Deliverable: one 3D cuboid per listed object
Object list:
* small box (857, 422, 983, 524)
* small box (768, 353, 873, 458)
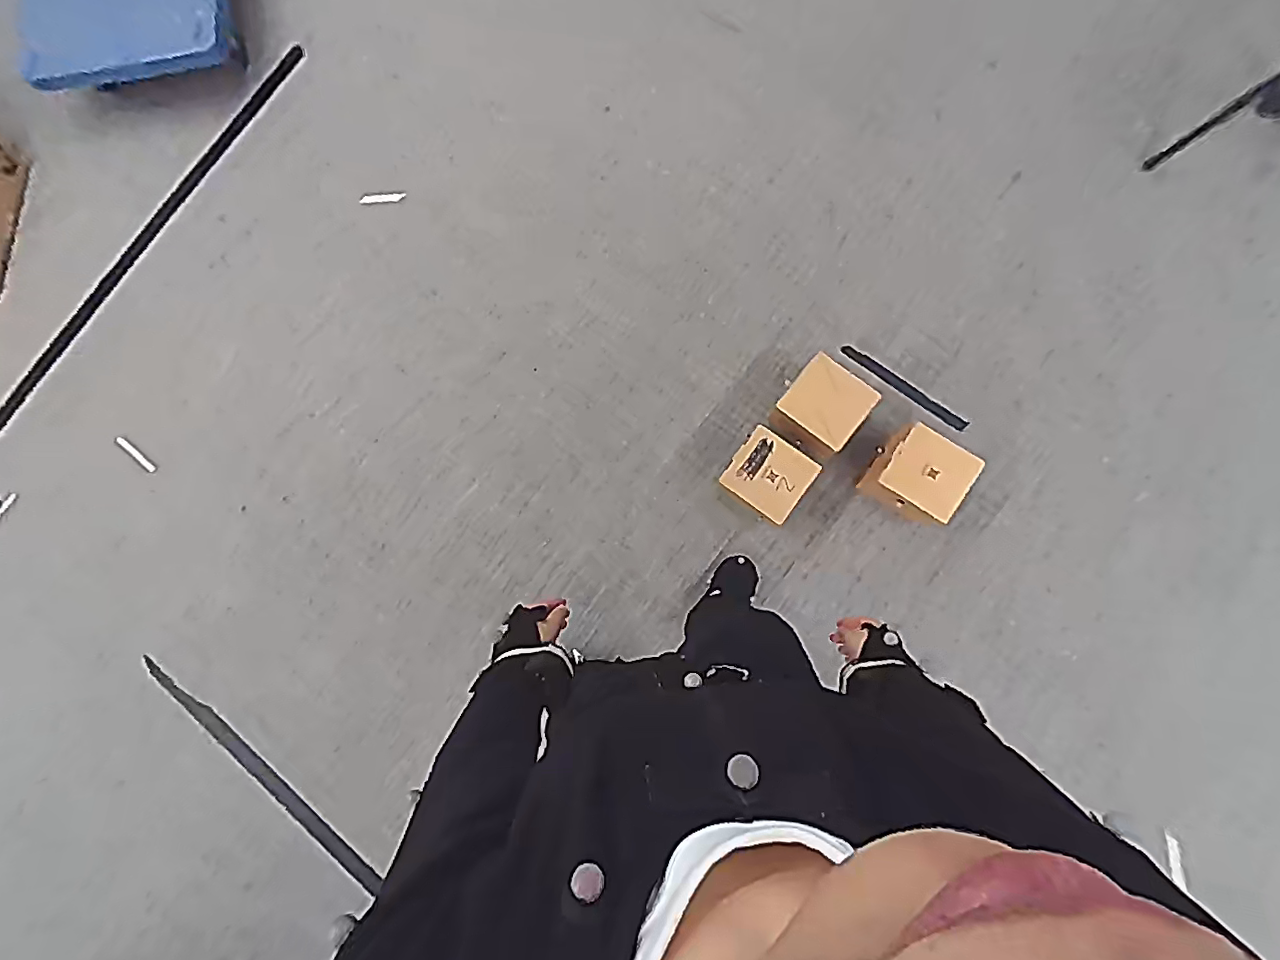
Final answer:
[{"bbox_3d":[0.651,-0.012,1.279,0.179,0.176,0.168,34,89,7],"label":"small box"},{"bbox_3d":[0.436,-0.174,1.307,0.179,0.176,0.168,39,89,7],"label":"small box"}]
